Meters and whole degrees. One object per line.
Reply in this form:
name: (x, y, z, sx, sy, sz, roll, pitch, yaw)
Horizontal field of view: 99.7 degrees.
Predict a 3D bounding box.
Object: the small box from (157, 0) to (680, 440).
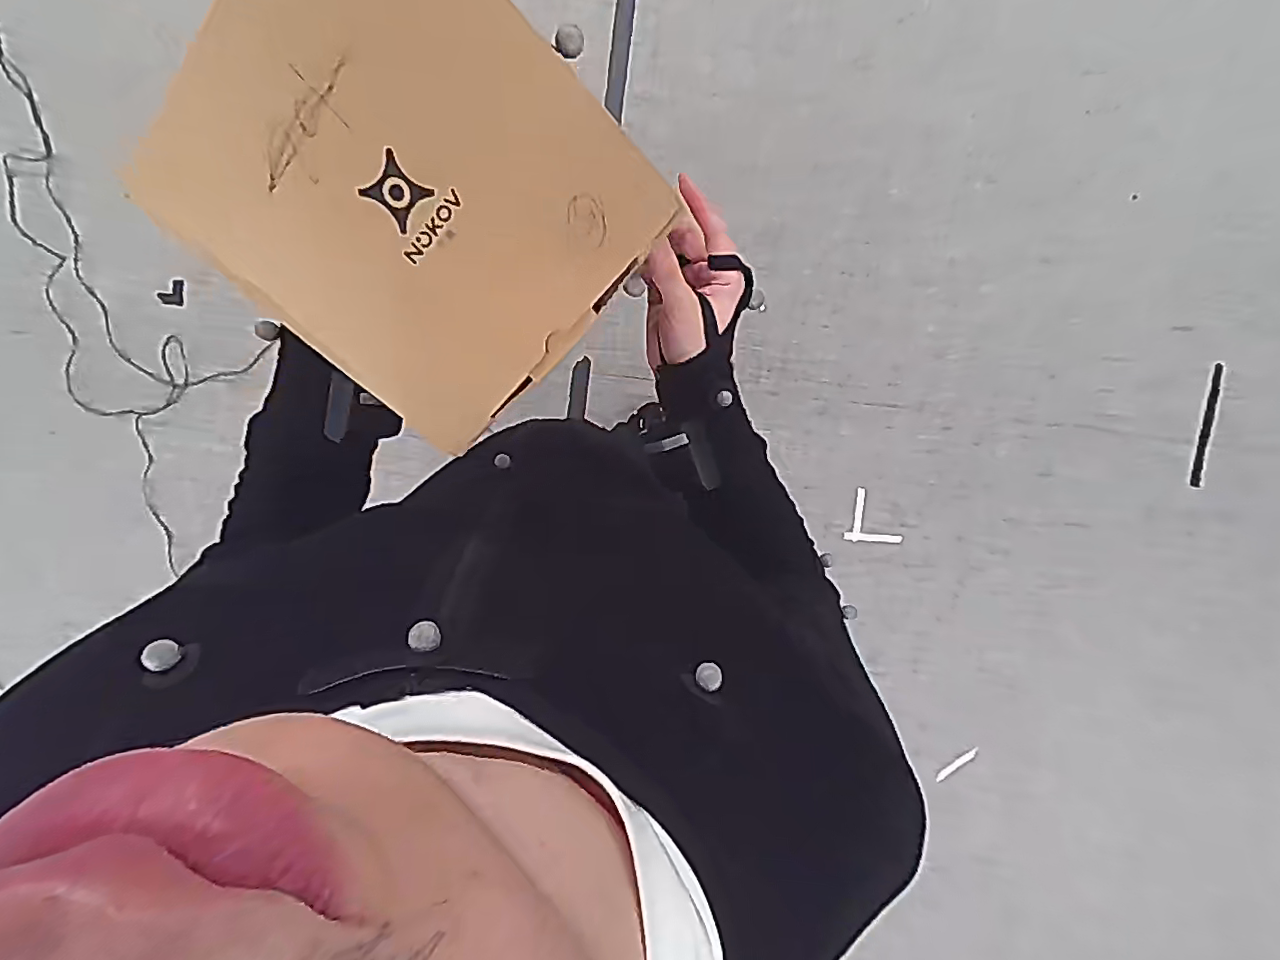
small box: (-0.096, -0.160, 0.311, 0.179, 0.176, 0.168, 42, 109, -17)
